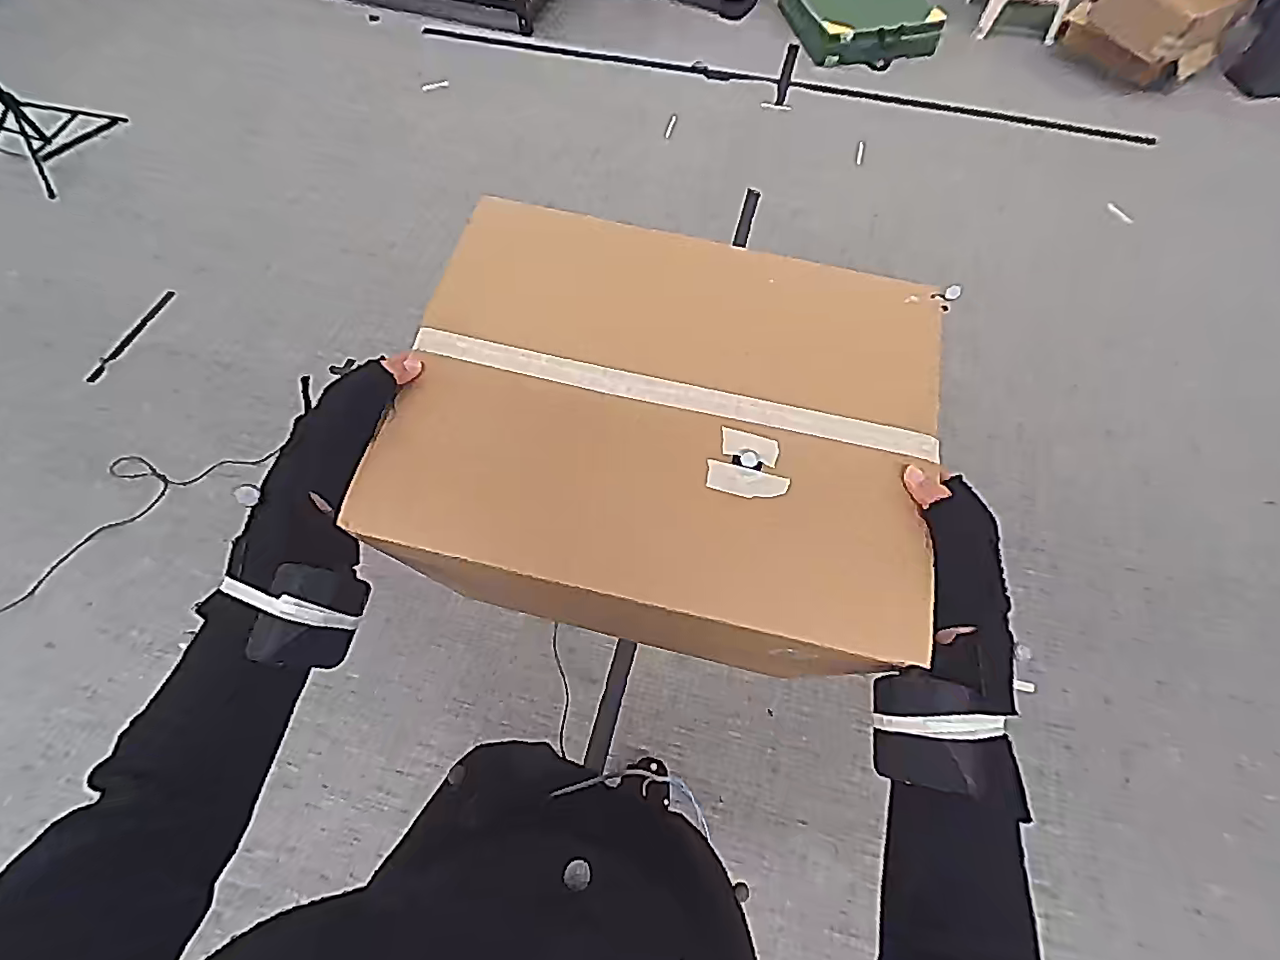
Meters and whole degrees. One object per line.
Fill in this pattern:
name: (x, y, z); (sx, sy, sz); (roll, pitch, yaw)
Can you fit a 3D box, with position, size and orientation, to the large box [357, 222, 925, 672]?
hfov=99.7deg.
large box: (0.016, -0.003, 0.564); (0.408, 0.320, 0.320); (13, 70, 3)
